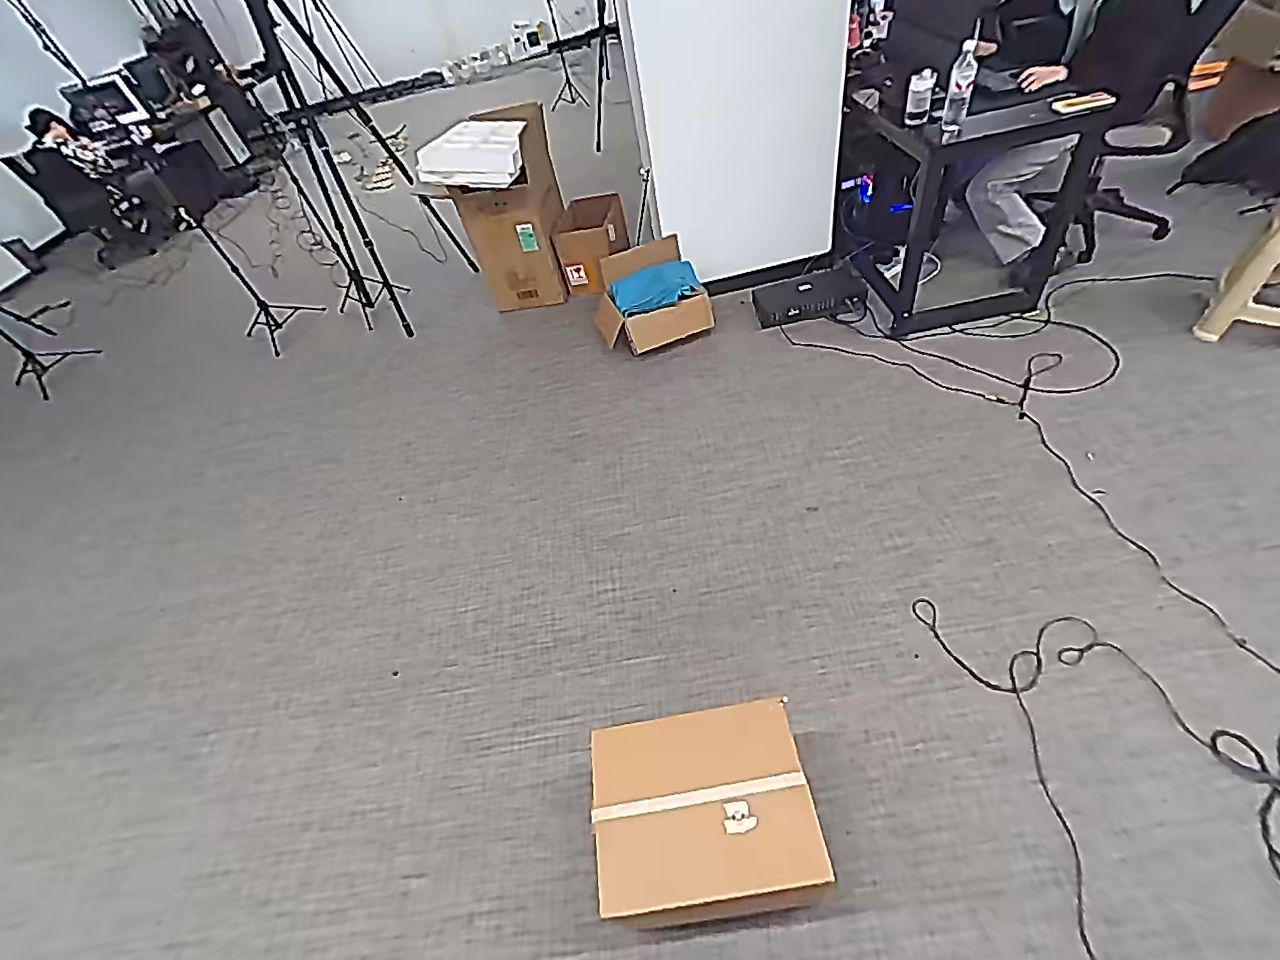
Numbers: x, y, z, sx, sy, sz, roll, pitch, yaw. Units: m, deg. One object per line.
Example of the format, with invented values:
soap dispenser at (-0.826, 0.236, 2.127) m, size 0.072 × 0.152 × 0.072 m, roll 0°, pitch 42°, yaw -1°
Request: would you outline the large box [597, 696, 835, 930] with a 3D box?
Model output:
large box at (0.145, 0.697, 1.126) m, size 0.408 × 0.320 × 0.320 m, roll -12°, pitch 46°, yaw 3°
